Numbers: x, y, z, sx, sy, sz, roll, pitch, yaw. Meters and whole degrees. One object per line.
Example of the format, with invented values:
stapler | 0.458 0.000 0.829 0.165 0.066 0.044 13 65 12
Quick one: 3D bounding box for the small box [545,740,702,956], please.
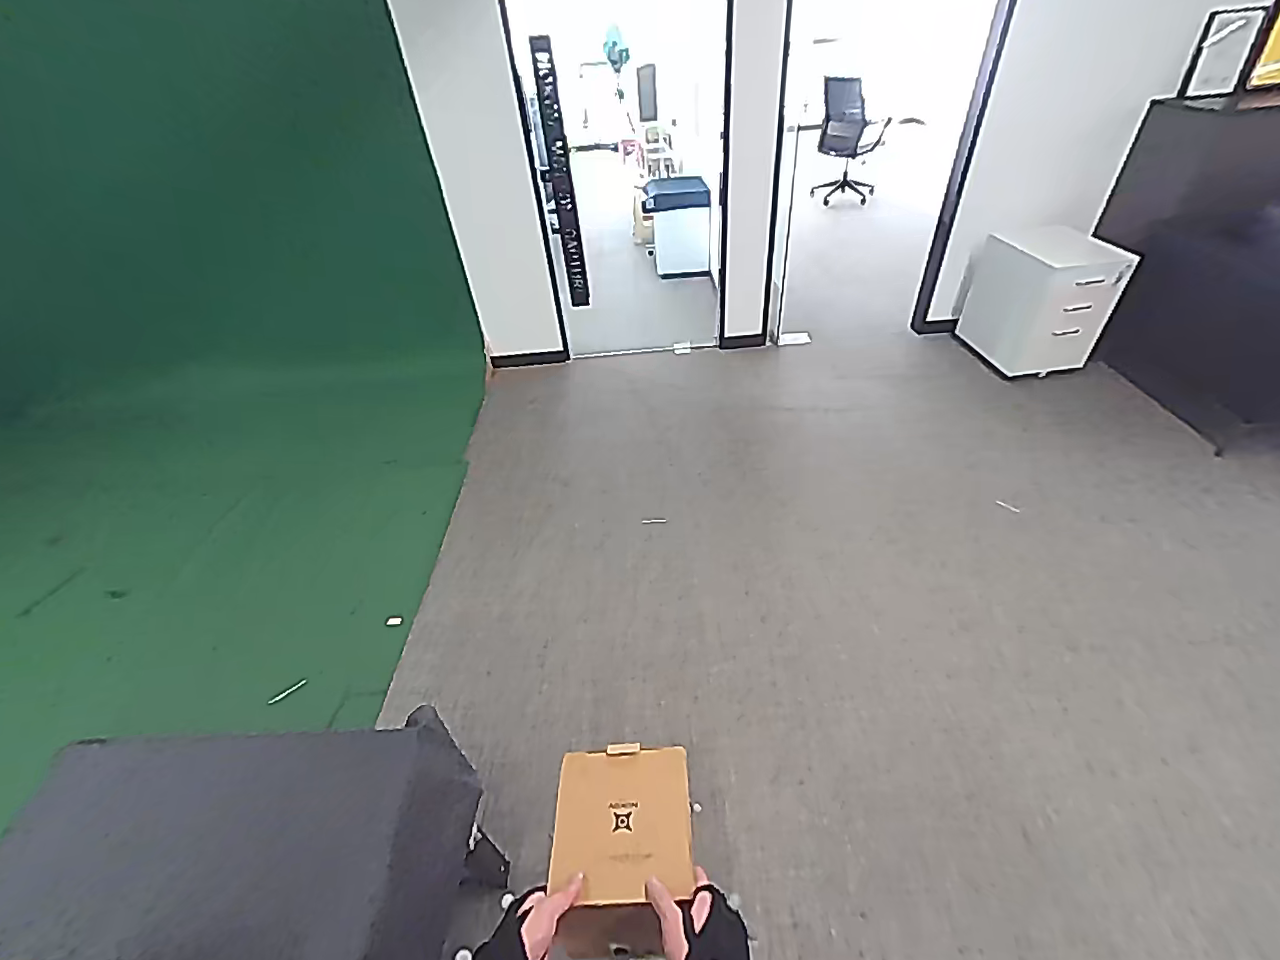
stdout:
small box | -0.011 0.459 0.684 0.168 0.176 0.179 -5 32 5
